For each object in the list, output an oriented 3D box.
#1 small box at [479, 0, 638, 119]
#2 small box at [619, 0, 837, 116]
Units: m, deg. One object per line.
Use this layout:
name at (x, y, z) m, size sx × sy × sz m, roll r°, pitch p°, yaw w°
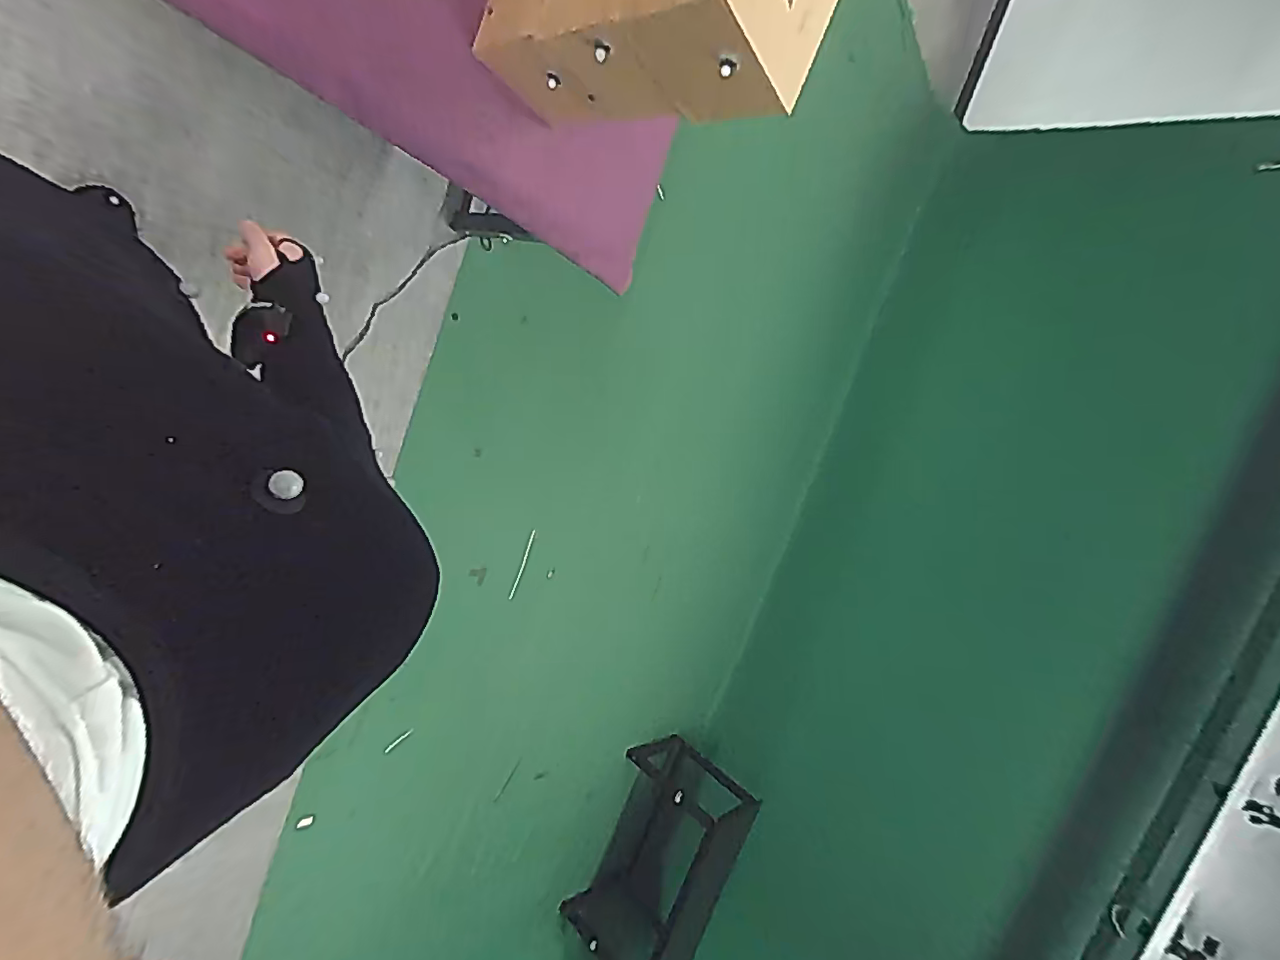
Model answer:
small box at (-0.120, -0.696, 0.842) m, size 0.179 × 0.176 × 0.168 m, roll 15°, pitch 99°, yaw -51°
small box at (0.104, -0.566, 0.641) m, size 0.179 × 0.176 × 0.168 m, roll 18°, pitch 97°, yaw -51°
